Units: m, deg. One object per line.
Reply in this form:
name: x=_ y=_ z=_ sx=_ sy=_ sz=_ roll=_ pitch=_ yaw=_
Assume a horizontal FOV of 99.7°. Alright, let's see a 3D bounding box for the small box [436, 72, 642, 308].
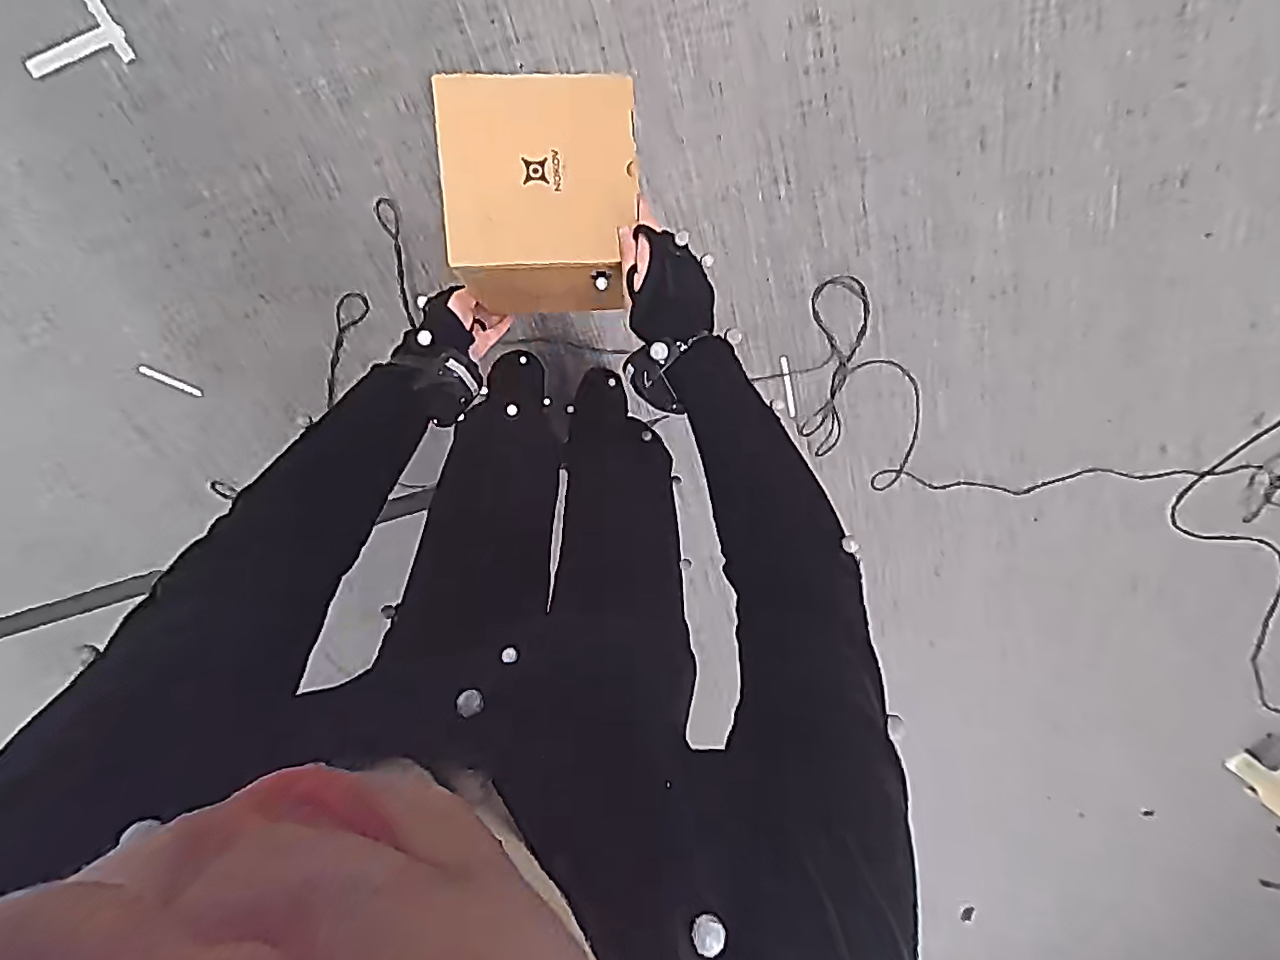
small box: x=-0.096 y=-0.284 z=0.564 sx=0.179 sy=0.176 sz=0.168 roll=-5 pitch=94 yaw=-6
